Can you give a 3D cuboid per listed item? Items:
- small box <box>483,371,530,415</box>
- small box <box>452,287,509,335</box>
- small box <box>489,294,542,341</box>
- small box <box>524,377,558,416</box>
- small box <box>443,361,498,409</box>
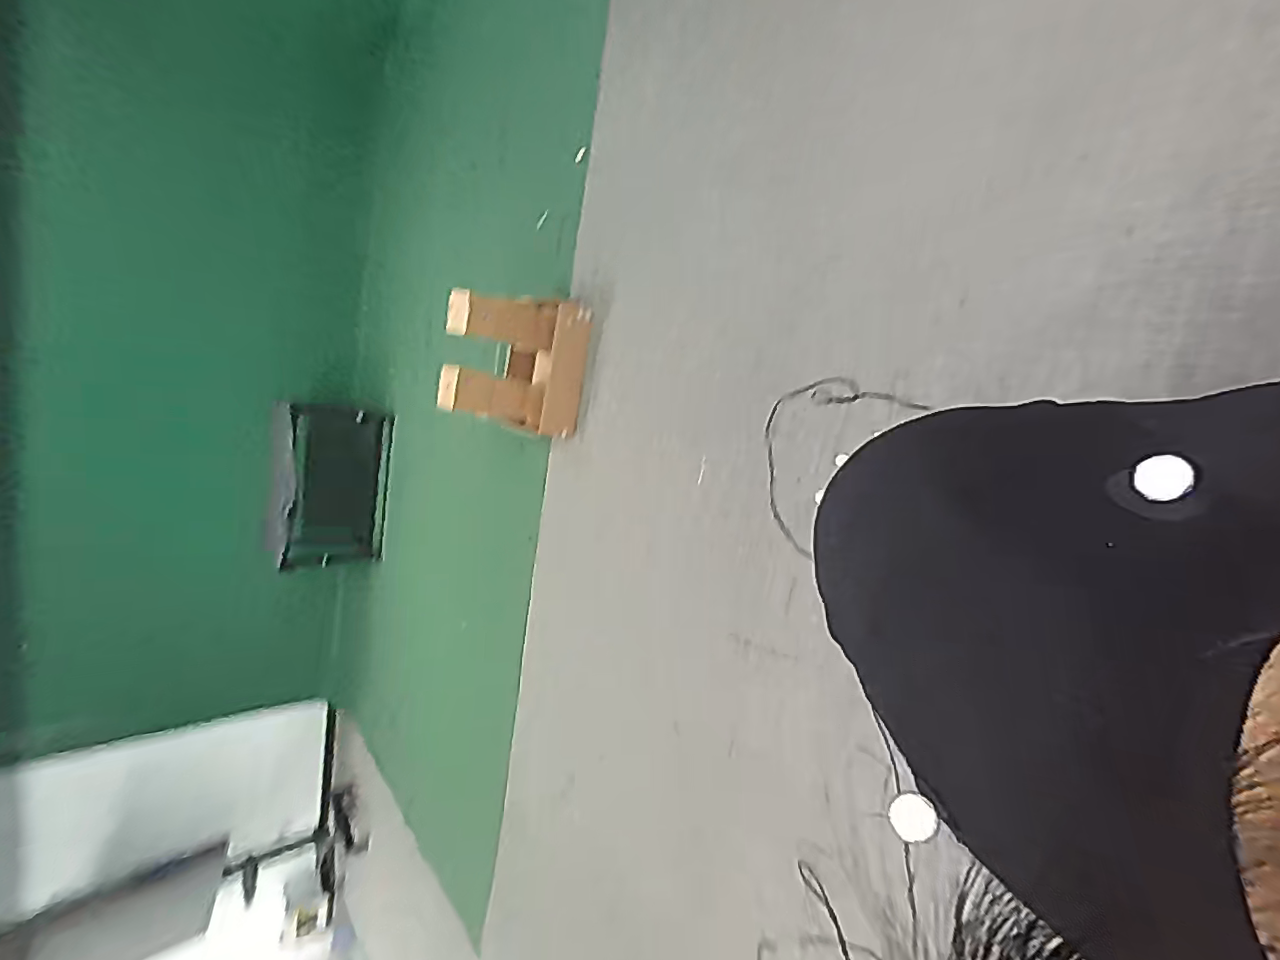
[{"bbox_3d":[-0.629,-0.403,2.497,0.168,0.176,0.179,20,102,44],"label":"small box"},{"bbox_3d":[-0.684,-0.726,2.327,0.179,0.176,0.168,23,106,42],"label":"small box"},{"bbox_3d":[-0.559,-0.728,2.434,0.168,0.176,0.179,17,102,43],"label":"small box"},{"bbox_3d":[-0.517,-0.406,2.617,0.179,0.176,0.168,19,102,44],"label":"small box"},{"bbox_3d":[-0.745,-0.418,2.379,0.168,0.176,0.179,19,102,45],"label":"small box"}]
